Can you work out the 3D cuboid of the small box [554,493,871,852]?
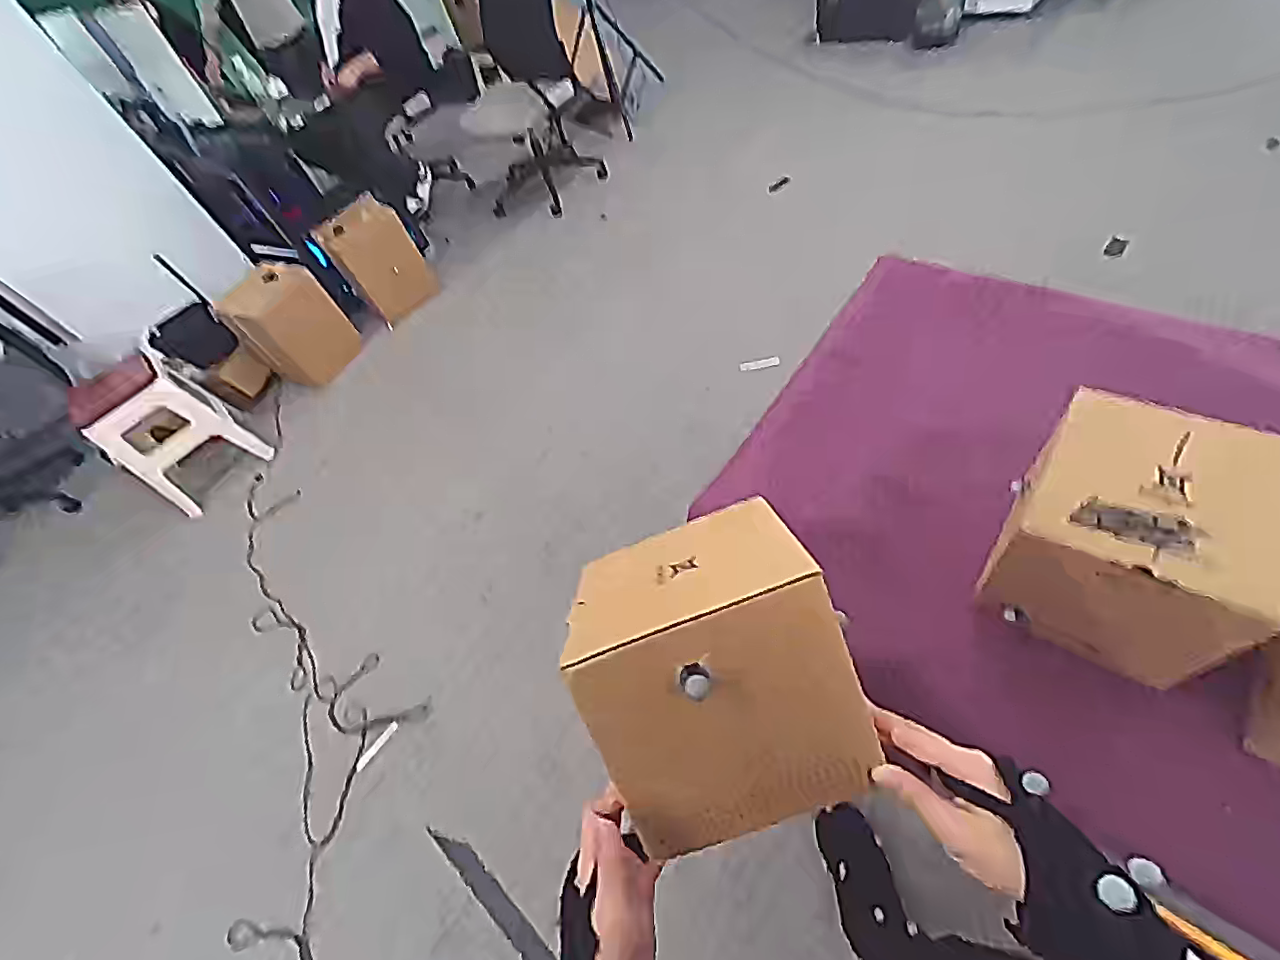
[{"bbox_3d":[0.056,0.136,0.420,0.179,0.176,0.168,-23,13,5],"label":"small box"}]
